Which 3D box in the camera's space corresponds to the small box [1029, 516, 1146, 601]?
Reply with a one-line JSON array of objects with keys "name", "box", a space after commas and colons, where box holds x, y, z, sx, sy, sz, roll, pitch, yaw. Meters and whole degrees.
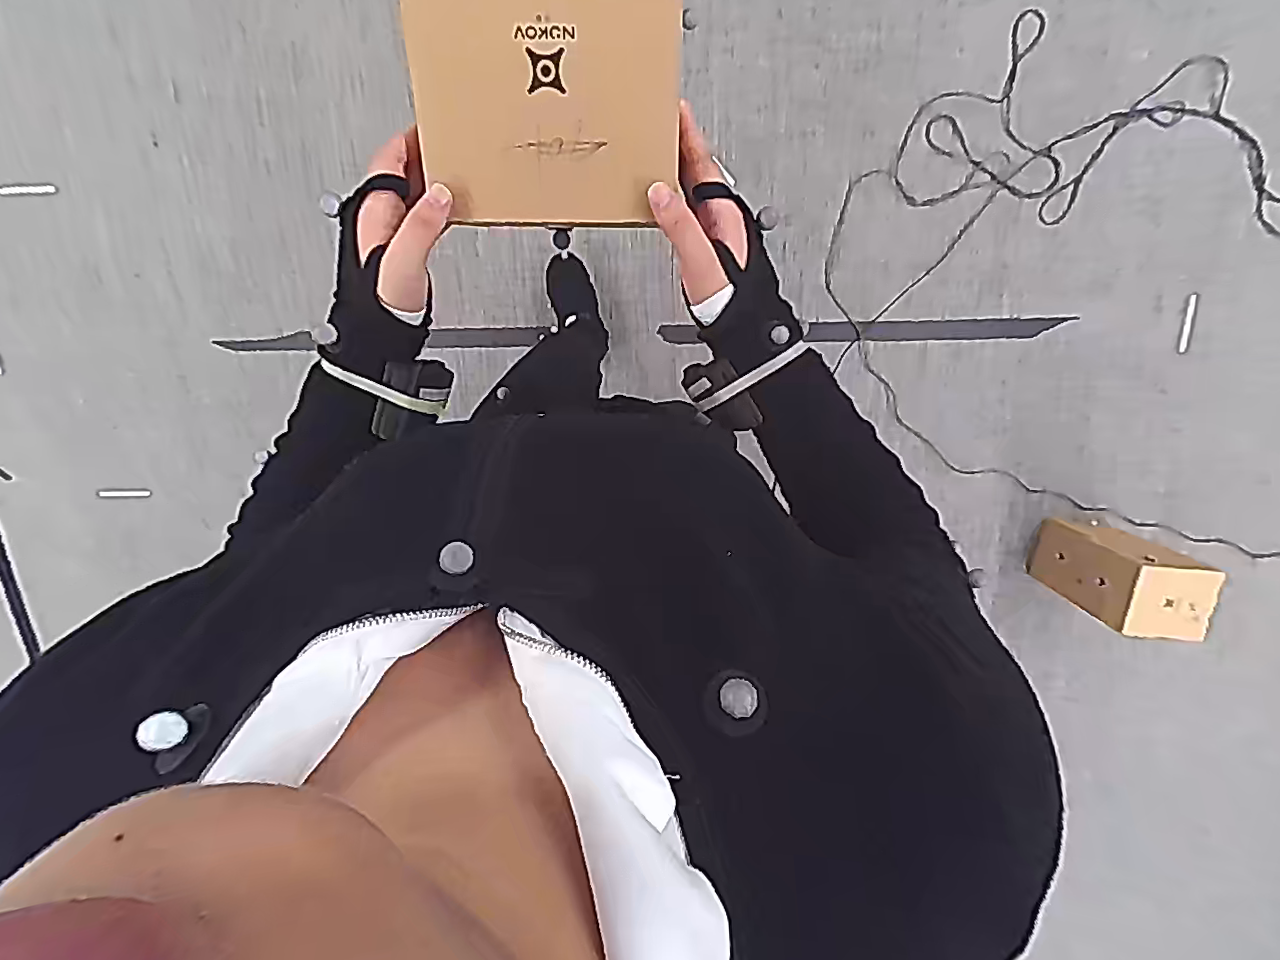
[{"name": "small box", "box": [1.162, 0.210, 1.407, 0.168, 0.176, 0.179, 7, 103, 0]}]

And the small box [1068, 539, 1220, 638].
[{"name": "small box", "box": [1.144, 0.243, 1.246, 0.179, 0.176, 0.168, 4, 105, 1]}]

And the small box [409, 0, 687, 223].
[{"name": "small box", "box": [-0.055, -0.291, 0.399, 0.168, 0.176, 0.179, 0, 114, 0]}]
